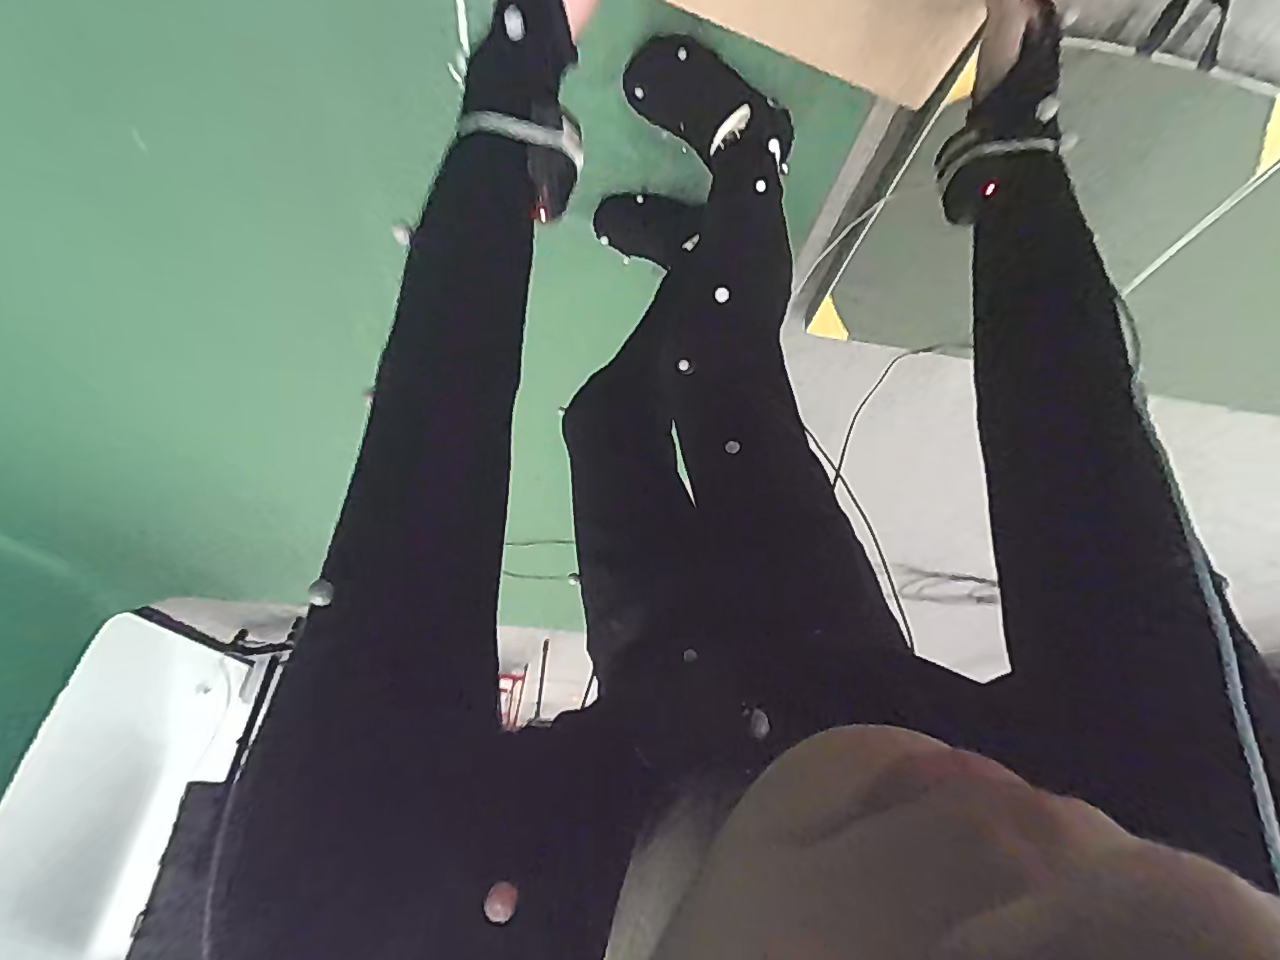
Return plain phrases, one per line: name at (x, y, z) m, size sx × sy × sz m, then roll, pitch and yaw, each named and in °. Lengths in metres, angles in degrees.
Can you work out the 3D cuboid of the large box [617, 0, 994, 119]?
large box at (0.181, -0.662, 0.547) m, size 0.408 × 0.320 × 0.320 m, roll 12°, pitch 147°, yaw -15°
